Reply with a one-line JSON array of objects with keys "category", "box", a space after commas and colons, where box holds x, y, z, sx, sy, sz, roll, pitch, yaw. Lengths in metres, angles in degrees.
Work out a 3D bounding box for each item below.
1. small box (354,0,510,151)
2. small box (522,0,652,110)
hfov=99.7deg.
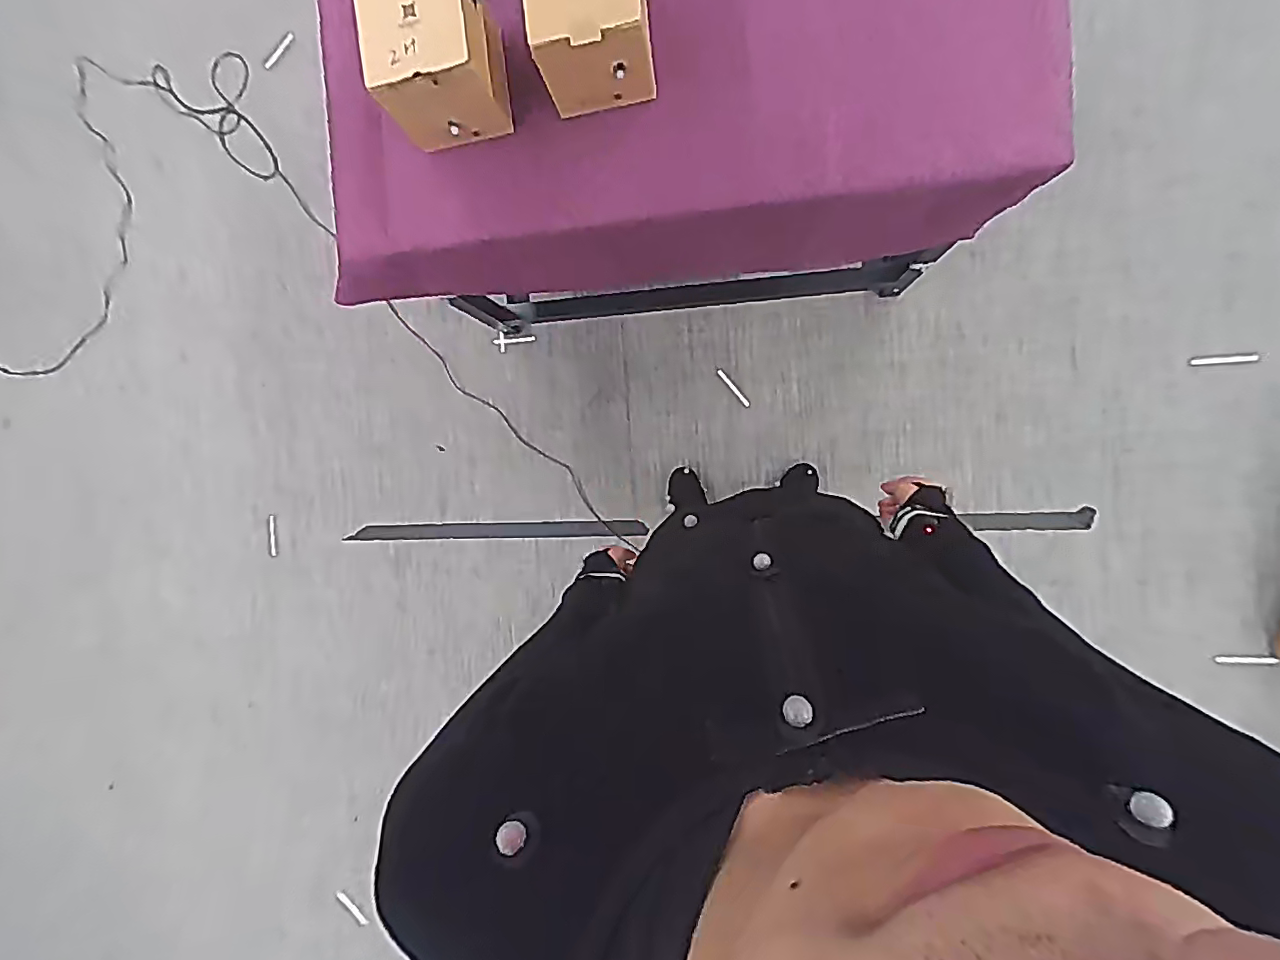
[{"category": "small box", "box": [-0.322, -0.669, 0.860, 0.168, 0.176, 0.179, -7, 91, 9]}, {"category": "small box", "box": [-0.076, -0.702, 0.825, 0.168, 0.176, 0.179, -5, 91, 8]}]
